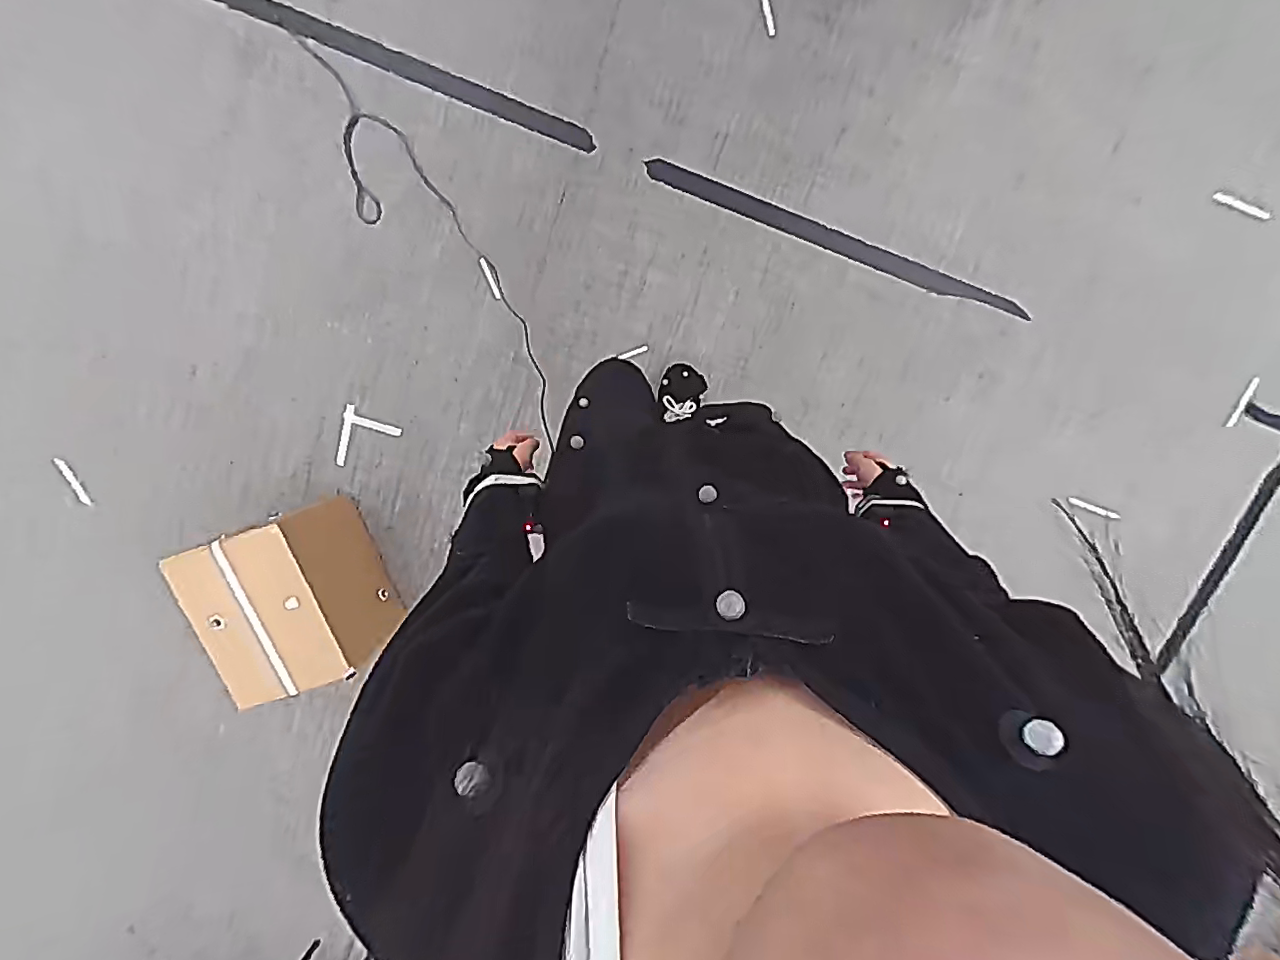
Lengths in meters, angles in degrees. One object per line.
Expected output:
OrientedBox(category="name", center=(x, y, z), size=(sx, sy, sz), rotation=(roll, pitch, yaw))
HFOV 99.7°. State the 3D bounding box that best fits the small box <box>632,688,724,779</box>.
OrientedBox(category="small box", center=(0.090, 0.653, 1.357), size=(0.168, 0.176, 0.179), rotation=(-27, 102, 8))
